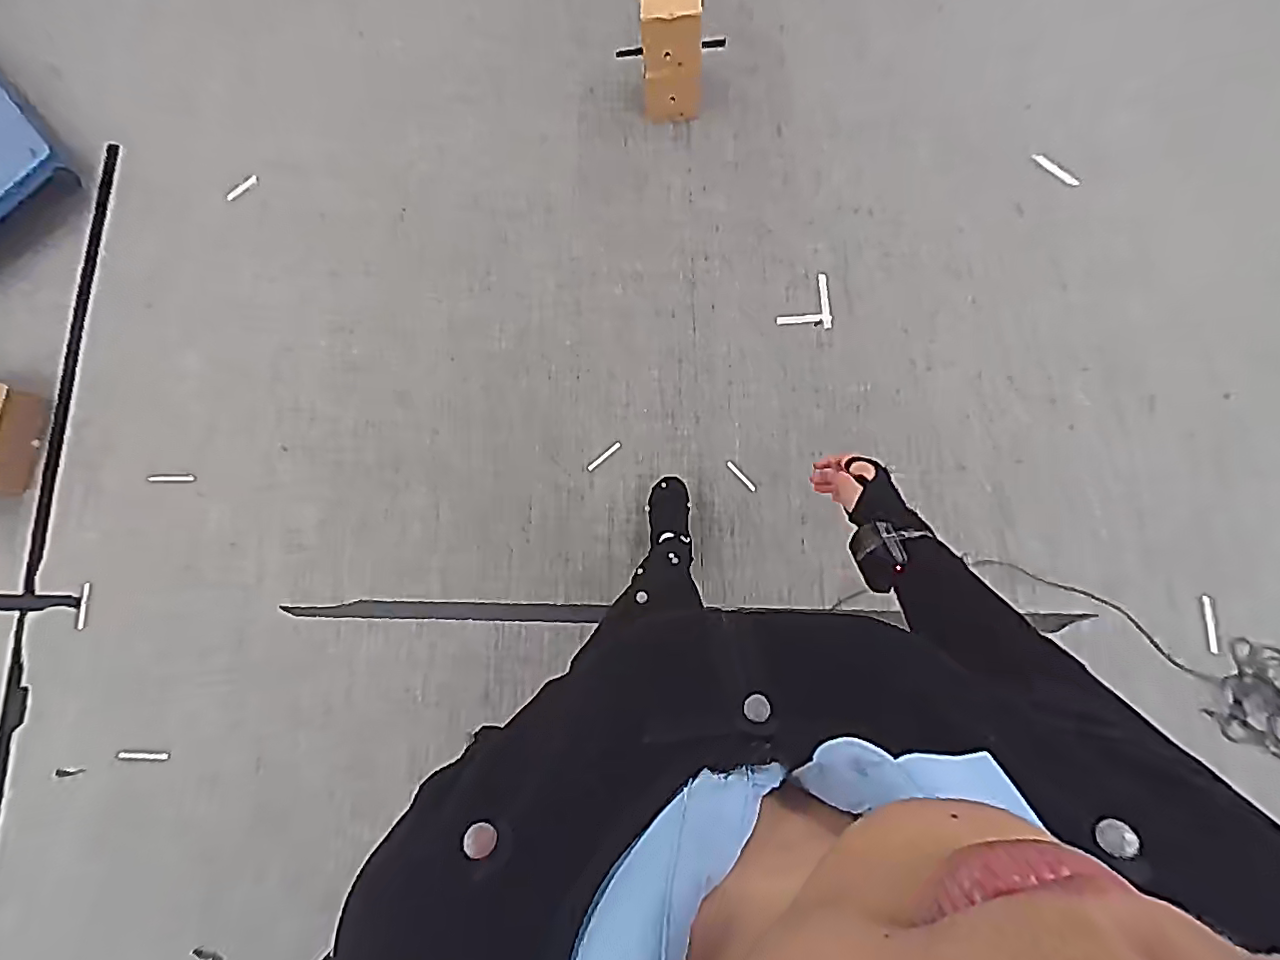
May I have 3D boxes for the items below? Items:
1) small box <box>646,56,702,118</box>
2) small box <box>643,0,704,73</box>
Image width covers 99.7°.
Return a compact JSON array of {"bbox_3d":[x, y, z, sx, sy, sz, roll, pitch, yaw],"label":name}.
[{"bbox_3d":[0.106,-1.260,1.678,0.168,0.176,0.179,-3,79,4],"label":"small box"},{"bbox_3d":[0.095,-1.297,1.519,0.168,0.176,0.179,-1,81,5],"label":"small box"}]
